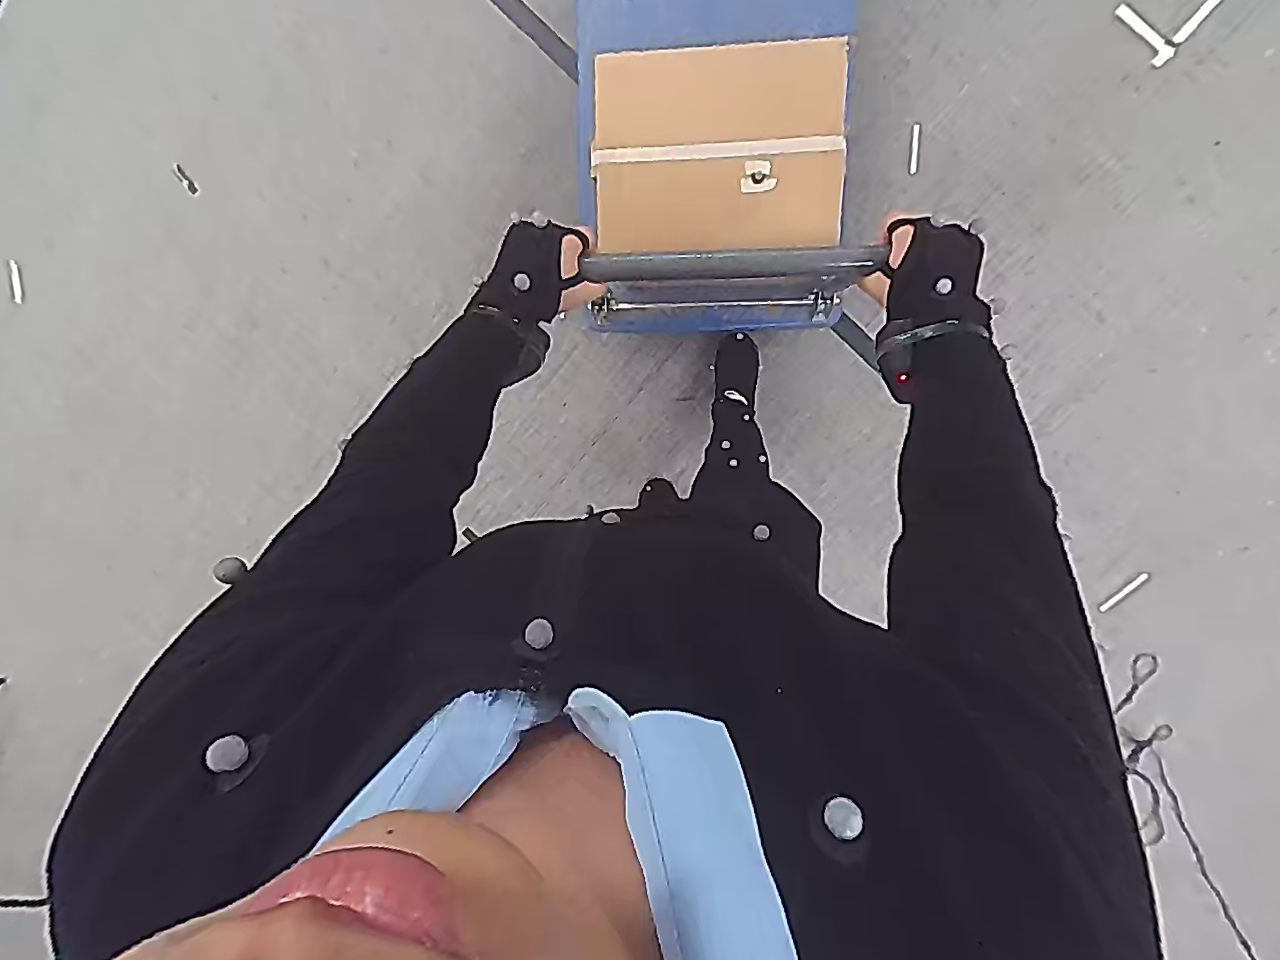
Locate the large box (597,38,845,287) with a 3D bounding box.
[{"bbox_3d":[0.140,-0.566,1.037,0.408,0.320,0.320,0,100,5],"label":"large box"}]
